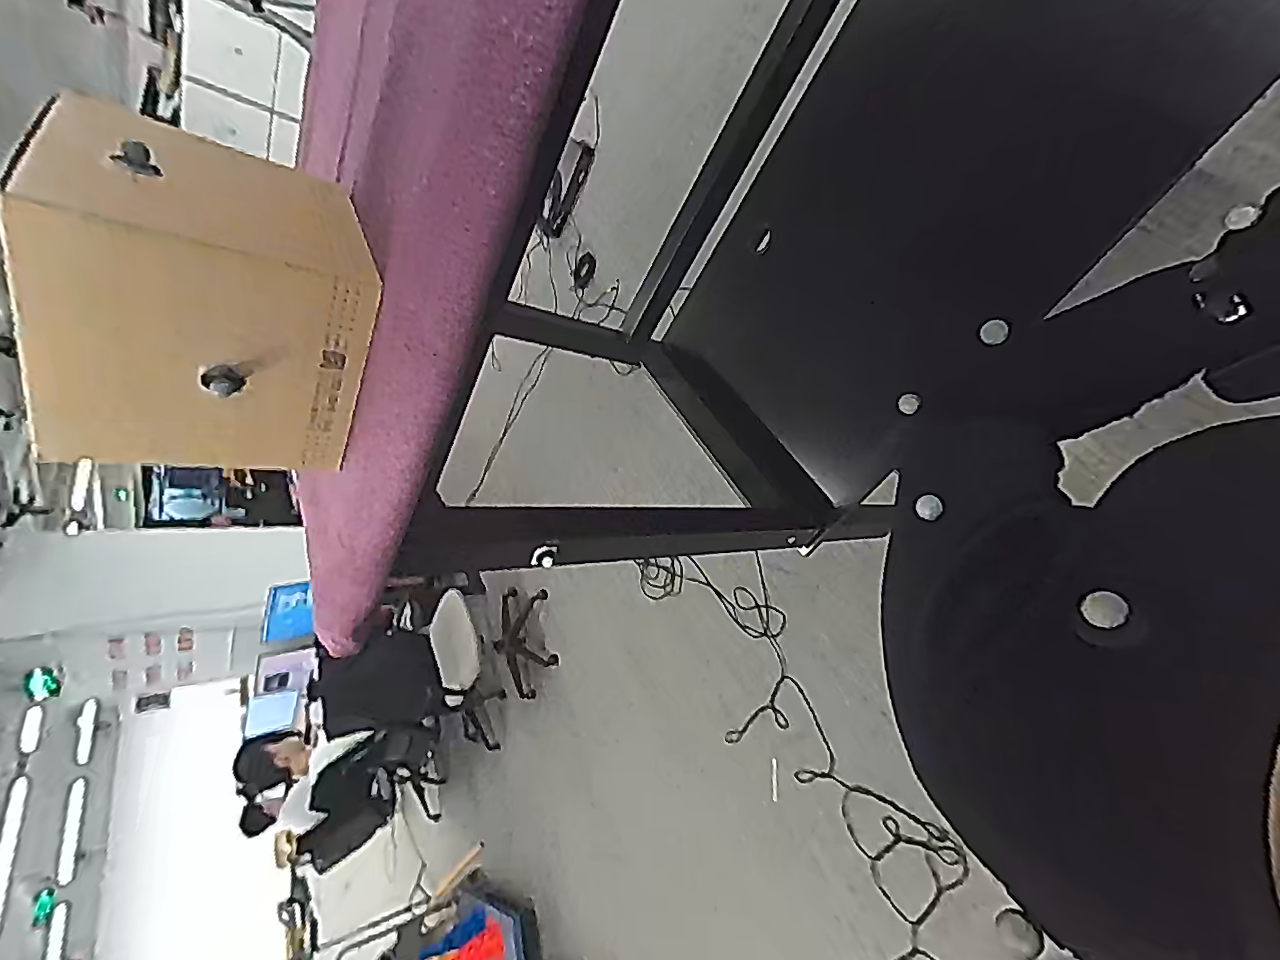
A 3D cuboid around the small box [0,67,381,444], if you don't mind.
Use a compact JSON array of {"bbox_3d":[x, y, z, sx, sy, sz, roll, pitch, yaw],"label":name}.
[{"bbox_3d":[-0.297,-0.139,0.381,0.168,0.176,0.179,-57,49,30],"label":"small box"}]
